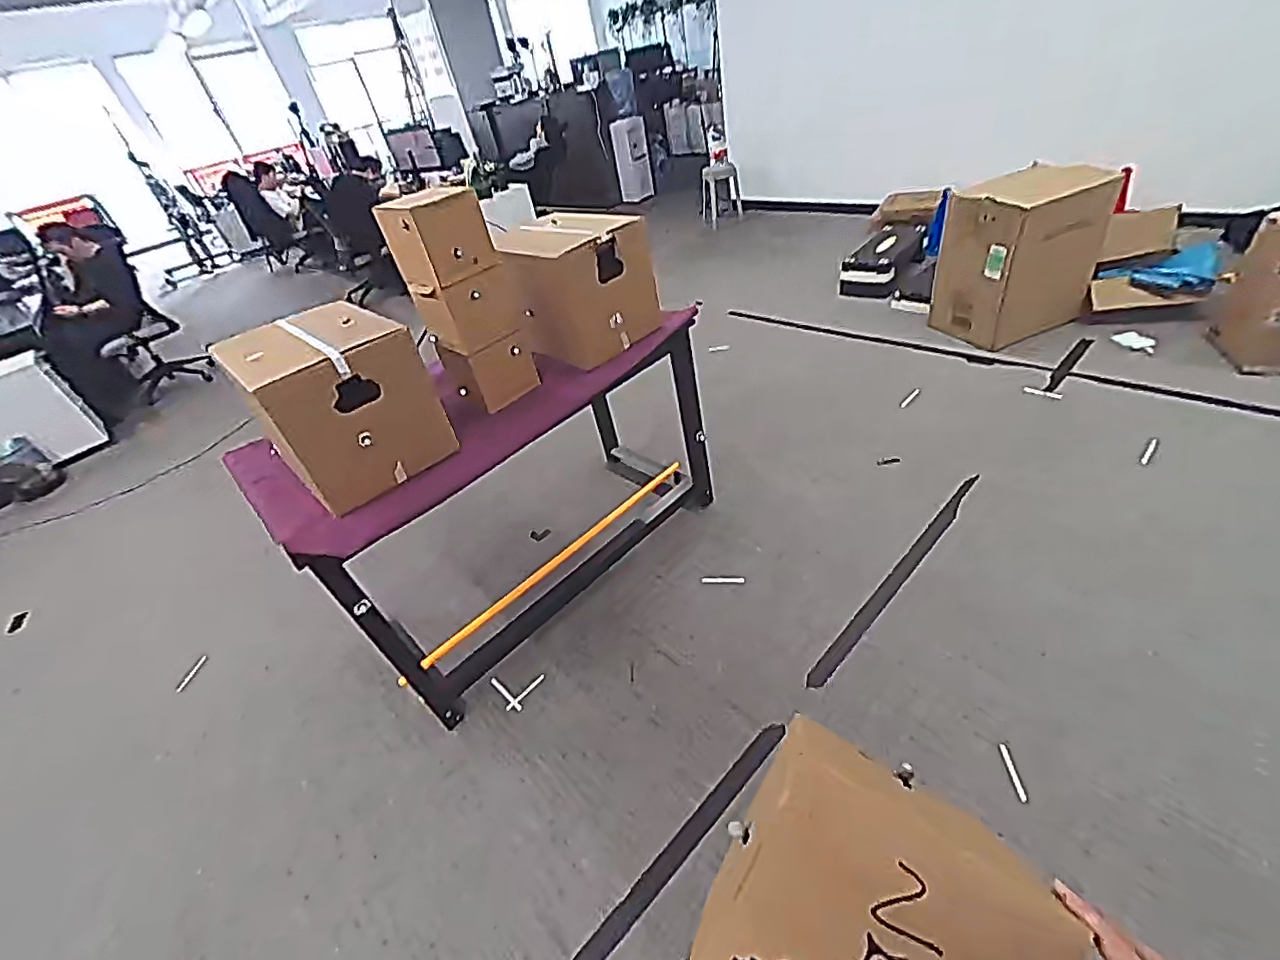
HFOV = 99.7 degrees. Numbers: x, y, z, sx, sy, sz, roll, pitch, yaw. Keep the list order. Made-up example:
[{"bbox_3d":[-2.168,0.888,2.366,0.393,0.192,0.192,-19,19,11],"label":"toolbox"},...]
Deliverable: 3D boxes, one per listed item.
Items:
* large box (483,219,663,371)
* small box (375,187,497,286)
[{"bbox_3d":[-0.196,-0.550,1.574,0.320,0.320,0.408,-37,43,-28],"label":"large box"},{"bbox_3d":[-0.461,-0.557,1.237,0.179,0.176,0.168,22,49,36],"label":"small box"}]
